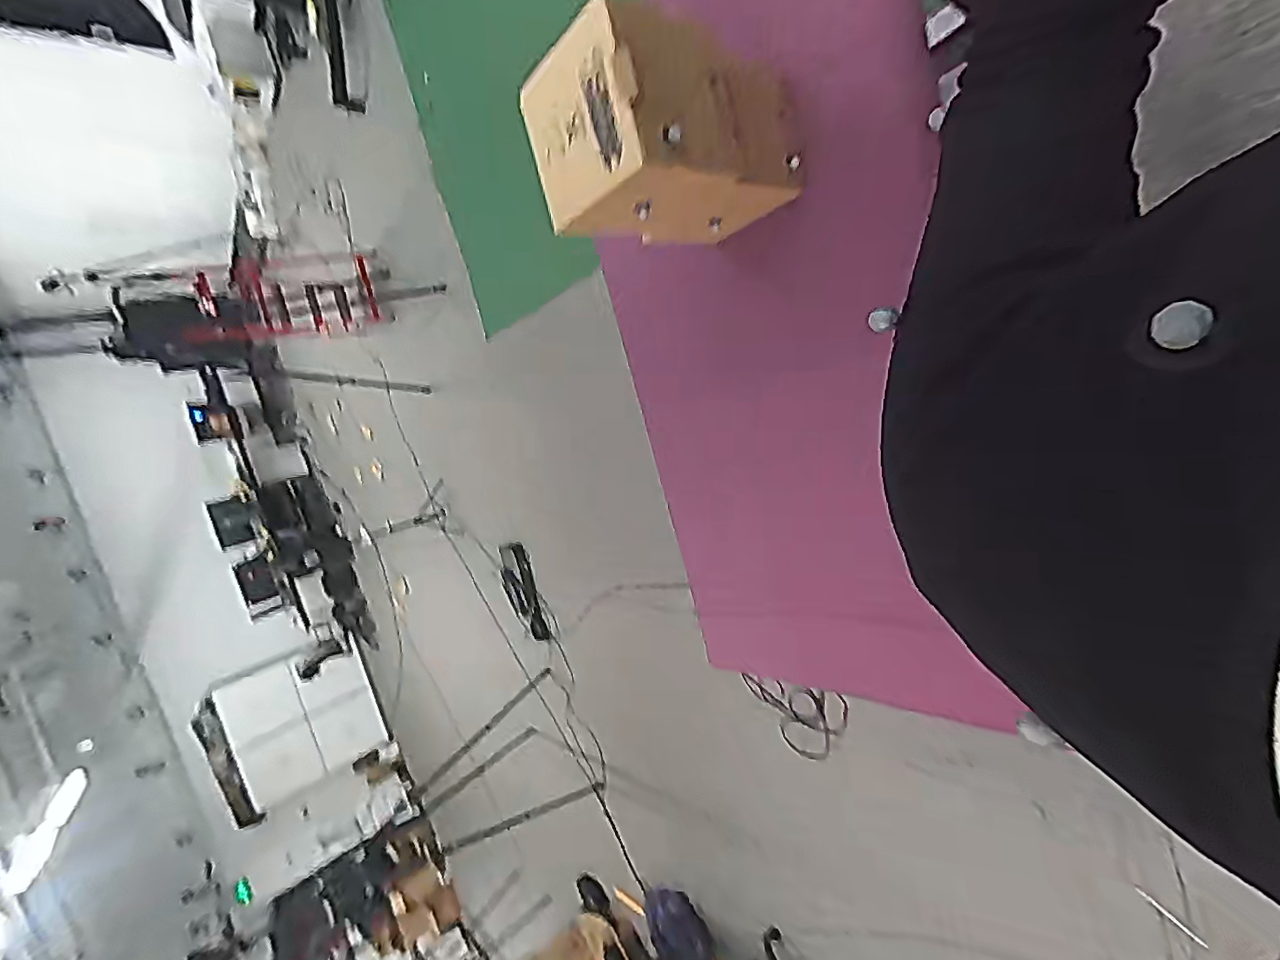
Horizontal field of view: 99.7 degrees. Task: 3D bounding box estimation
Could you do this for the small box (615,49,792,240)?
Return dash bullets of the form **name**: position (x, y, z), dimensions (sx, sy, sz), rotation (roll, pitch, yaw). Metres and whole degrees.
- **small box**: position (0.097, -0.455, 0.766), dimensions (0.179, 0.176, 0.168), rotation (-3, 102, 49)
